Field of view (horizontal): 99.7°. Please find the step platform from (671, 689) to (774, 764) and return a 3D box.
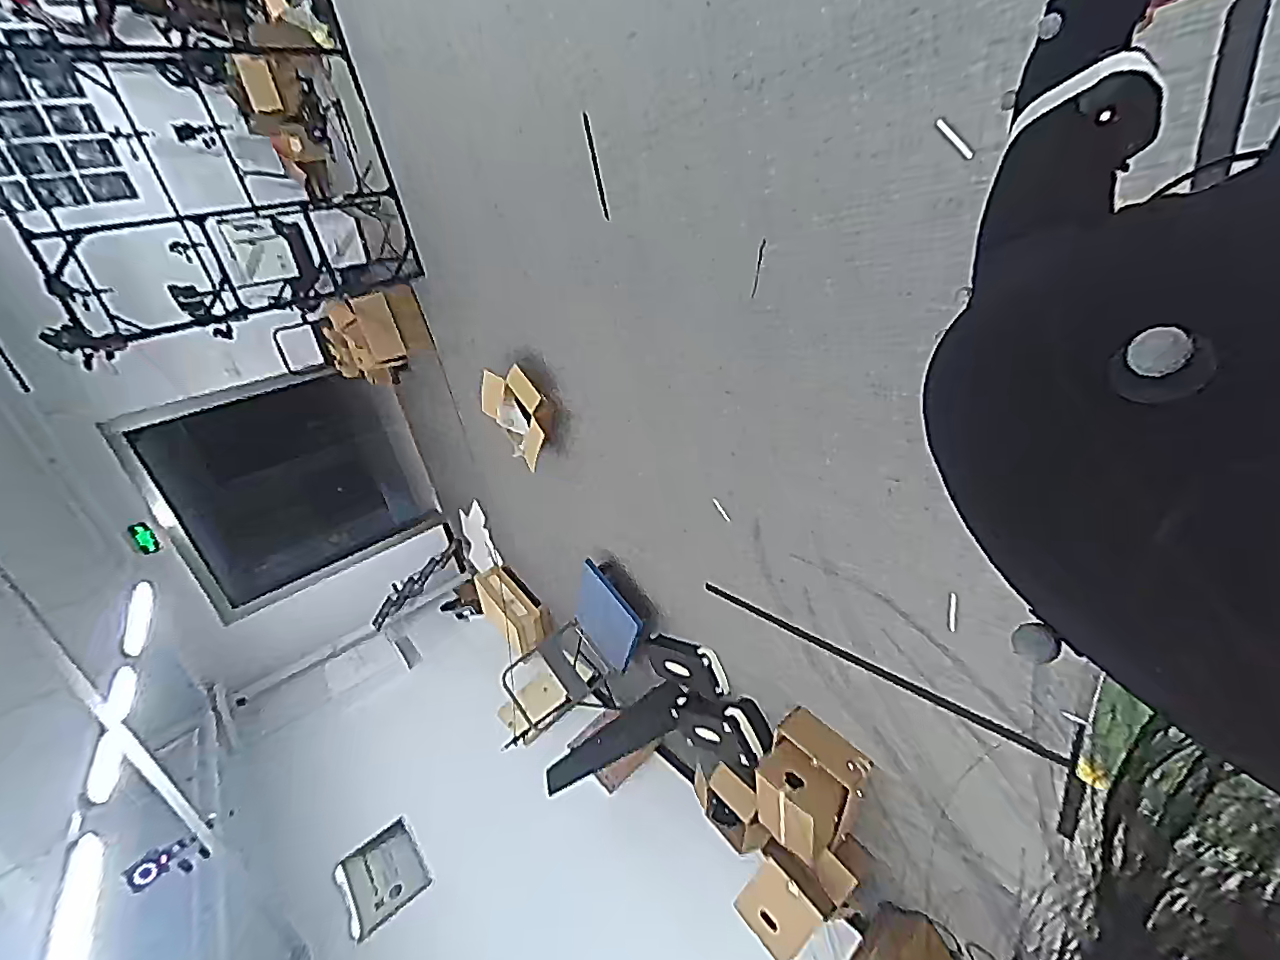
[{"bbox_3d":[0.457,1.429,3.164,0.286,0.204,0.684,62,148,0],"label":"step platform"}]
